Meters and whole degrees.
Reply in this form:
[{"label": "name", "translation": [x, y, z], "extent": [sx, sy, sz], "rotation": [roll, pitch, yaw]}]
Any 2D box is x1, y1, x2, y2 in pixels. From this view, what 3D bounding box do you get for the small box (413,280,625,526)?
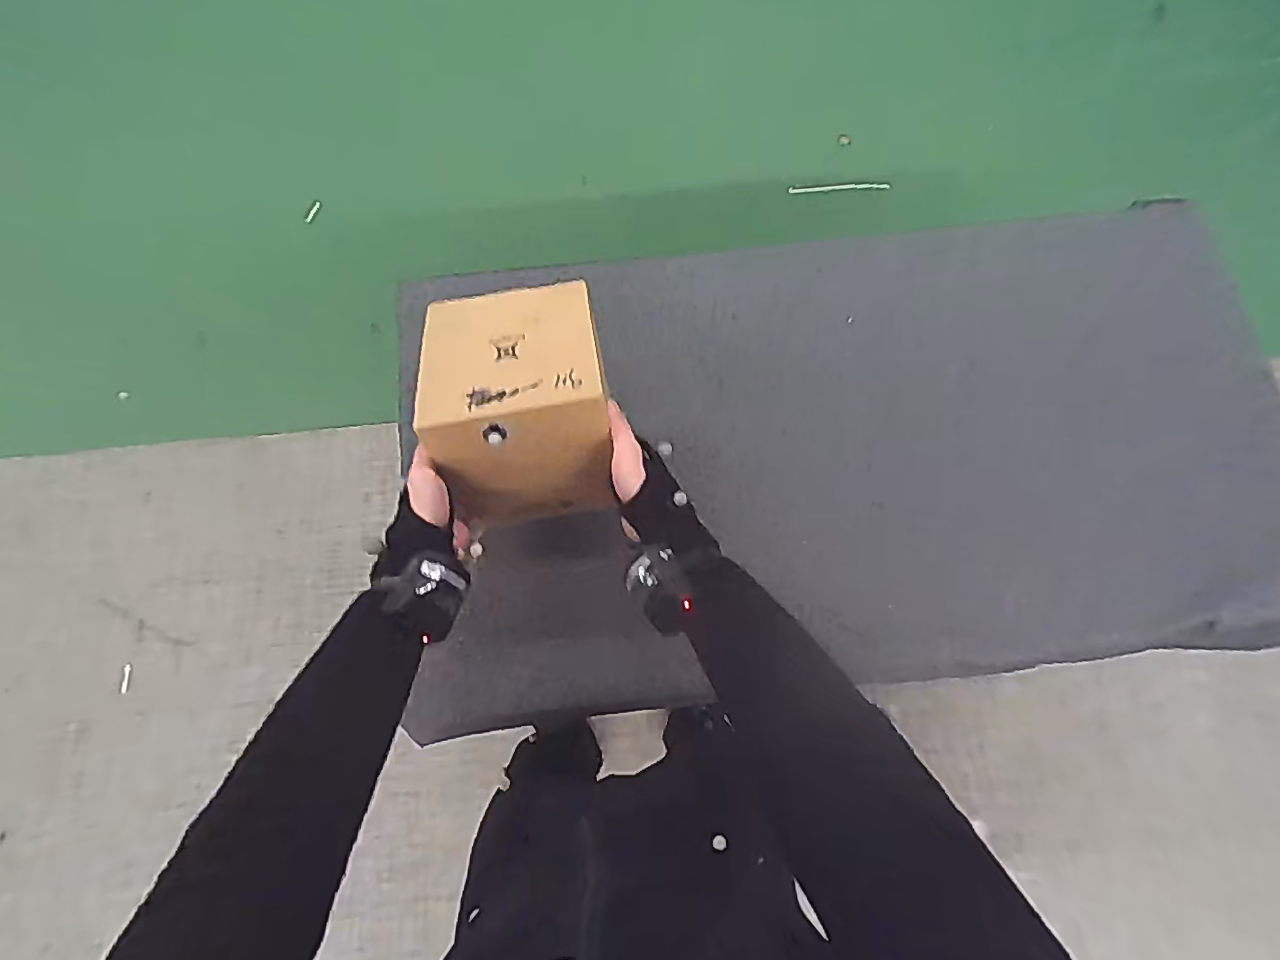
[{"label": "small box", "translation": [-0.115, -0.077, 0.568], "extent": [0.168, 0.176, 0.179], "rotation": [-11, 53, 0]}]
